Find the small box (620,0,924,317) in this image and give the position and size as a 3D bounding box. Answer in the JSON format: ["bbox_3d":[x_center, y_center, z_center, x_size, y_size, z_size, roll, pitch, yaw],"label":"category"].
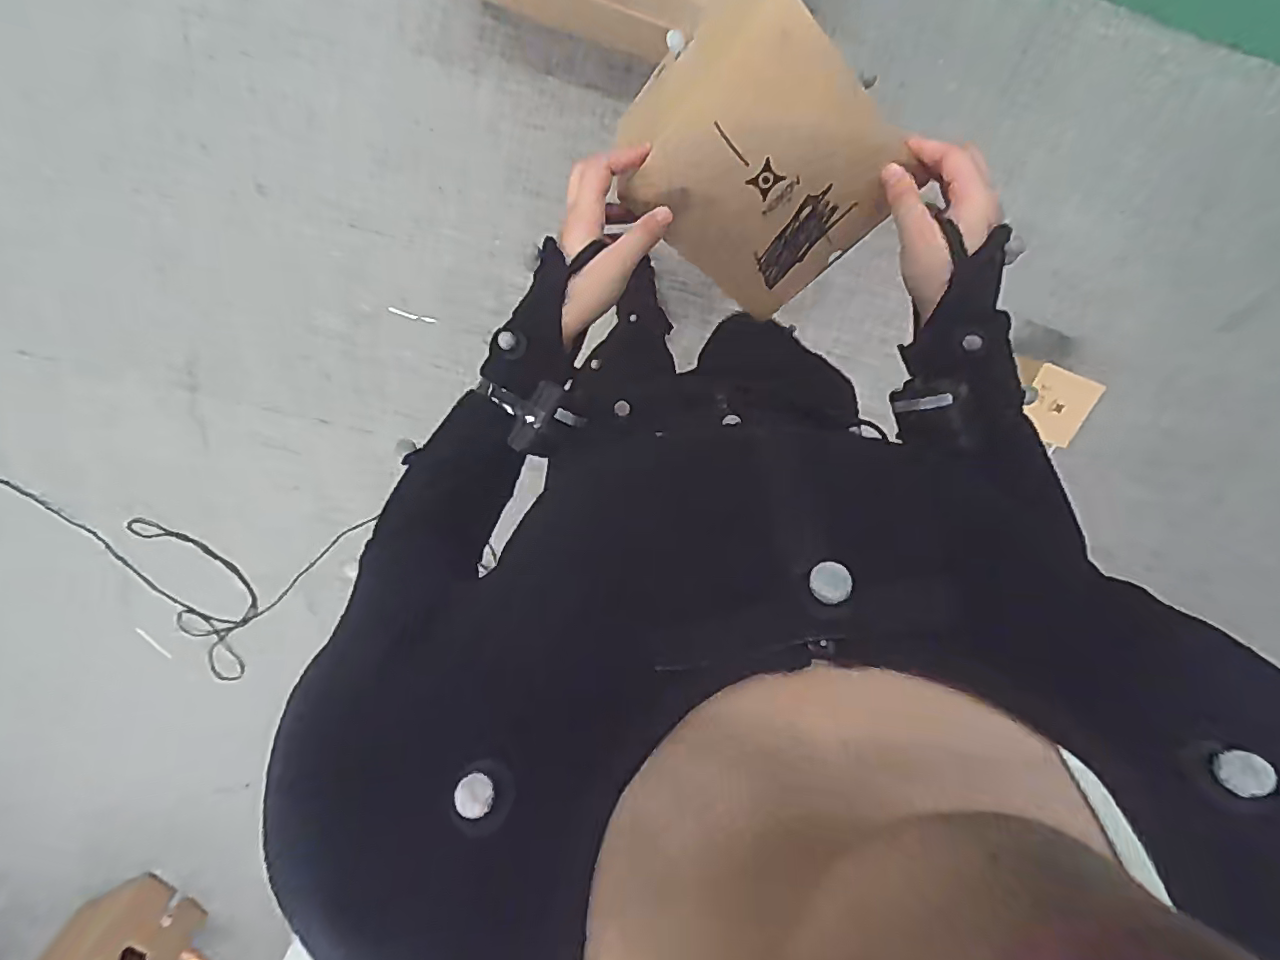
[{"bbox_3d":[0.101,-0.286,0.463,0.179,0.176,0.168,28,133,-30],"label":"small box"}]

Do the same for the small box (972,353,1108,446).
[{"bbox_3d":[0.992,-0.209,1.359,0.179,0.176,0.168,18,110,-7],"label":"small box"}]
